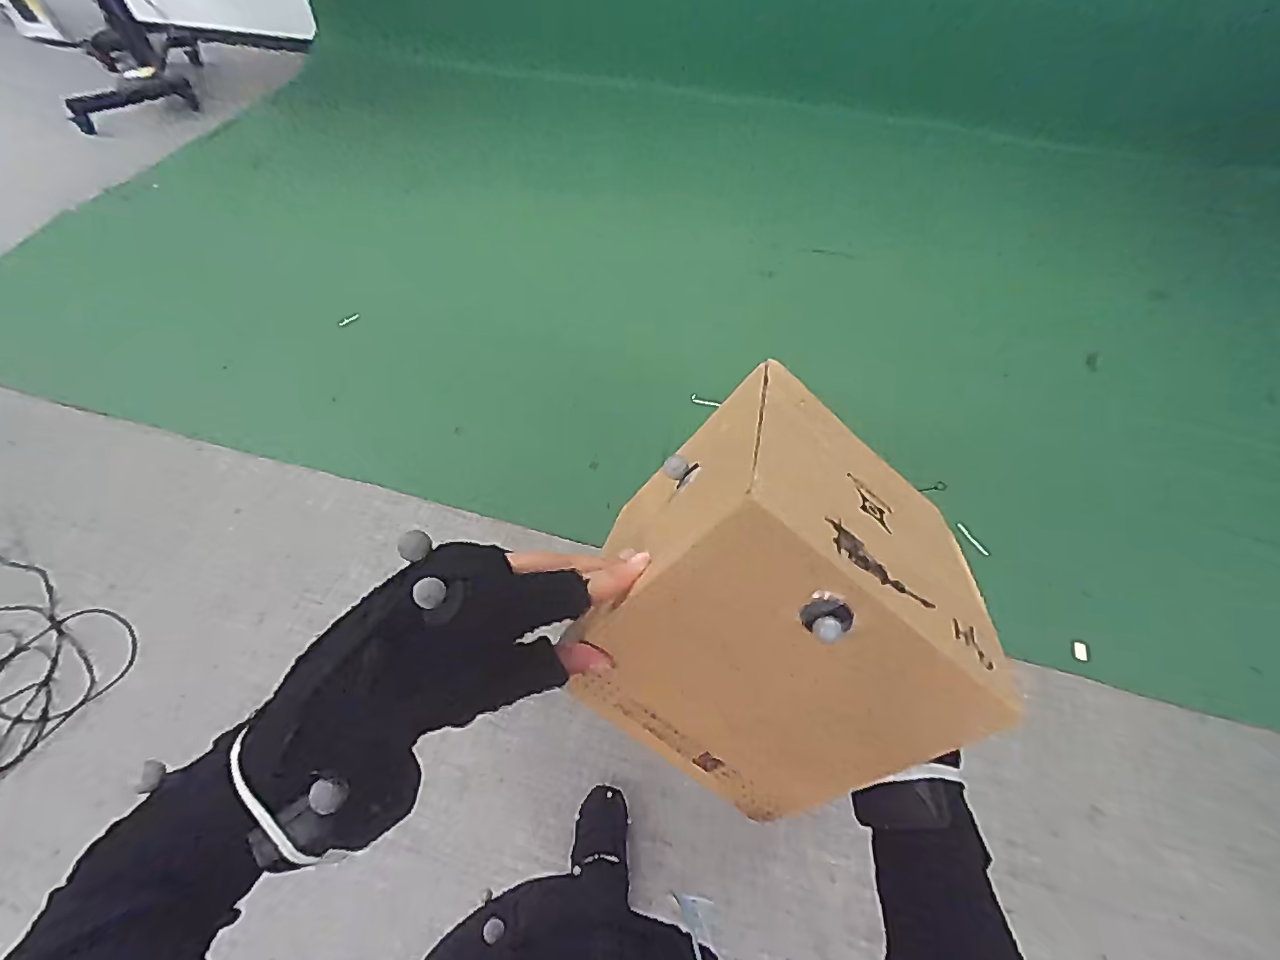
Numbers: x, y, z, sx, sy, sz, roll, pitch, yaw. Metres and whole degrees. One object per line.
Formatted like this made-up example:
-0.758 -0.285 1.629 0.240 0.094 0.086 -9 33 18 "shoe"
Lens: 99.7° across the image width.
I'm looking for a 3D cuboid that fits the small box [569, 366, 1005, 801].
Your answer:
0.079 0.063 0.351 0.168 0.176 0.179 38 33 -7 "small box"
